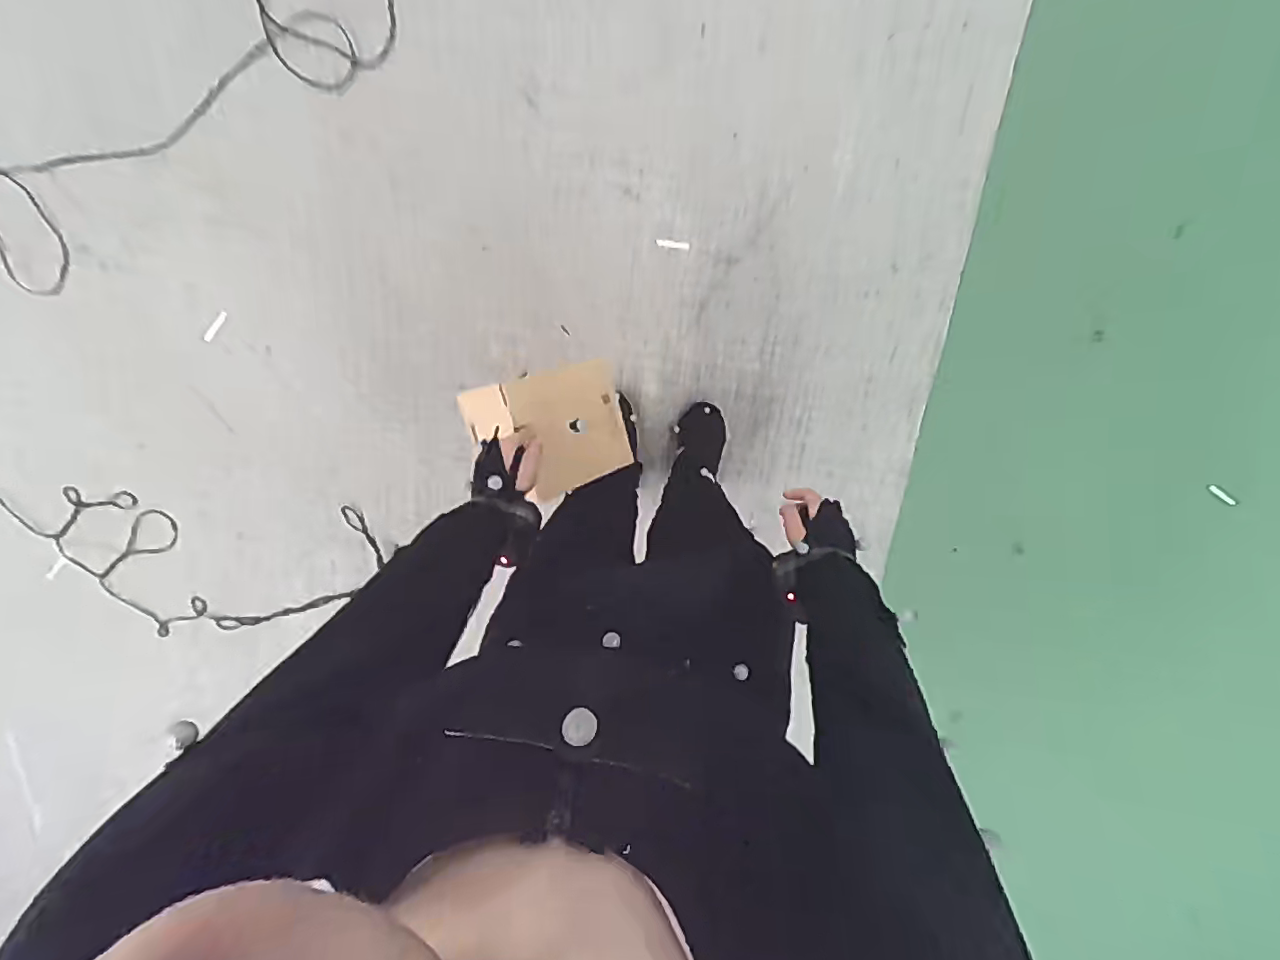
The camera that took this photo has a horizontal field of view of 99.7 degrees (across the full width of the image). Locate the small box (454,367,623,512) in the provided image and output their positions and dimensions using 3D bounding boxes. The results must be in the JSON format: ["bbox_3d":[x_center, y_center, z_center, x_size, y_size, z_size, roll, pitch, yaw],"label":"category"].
[{"bbox_3d":[-0.146,-0.062,0.817,0.176,0.179,0.168,-28,106,-35],"label":"small box"}]
